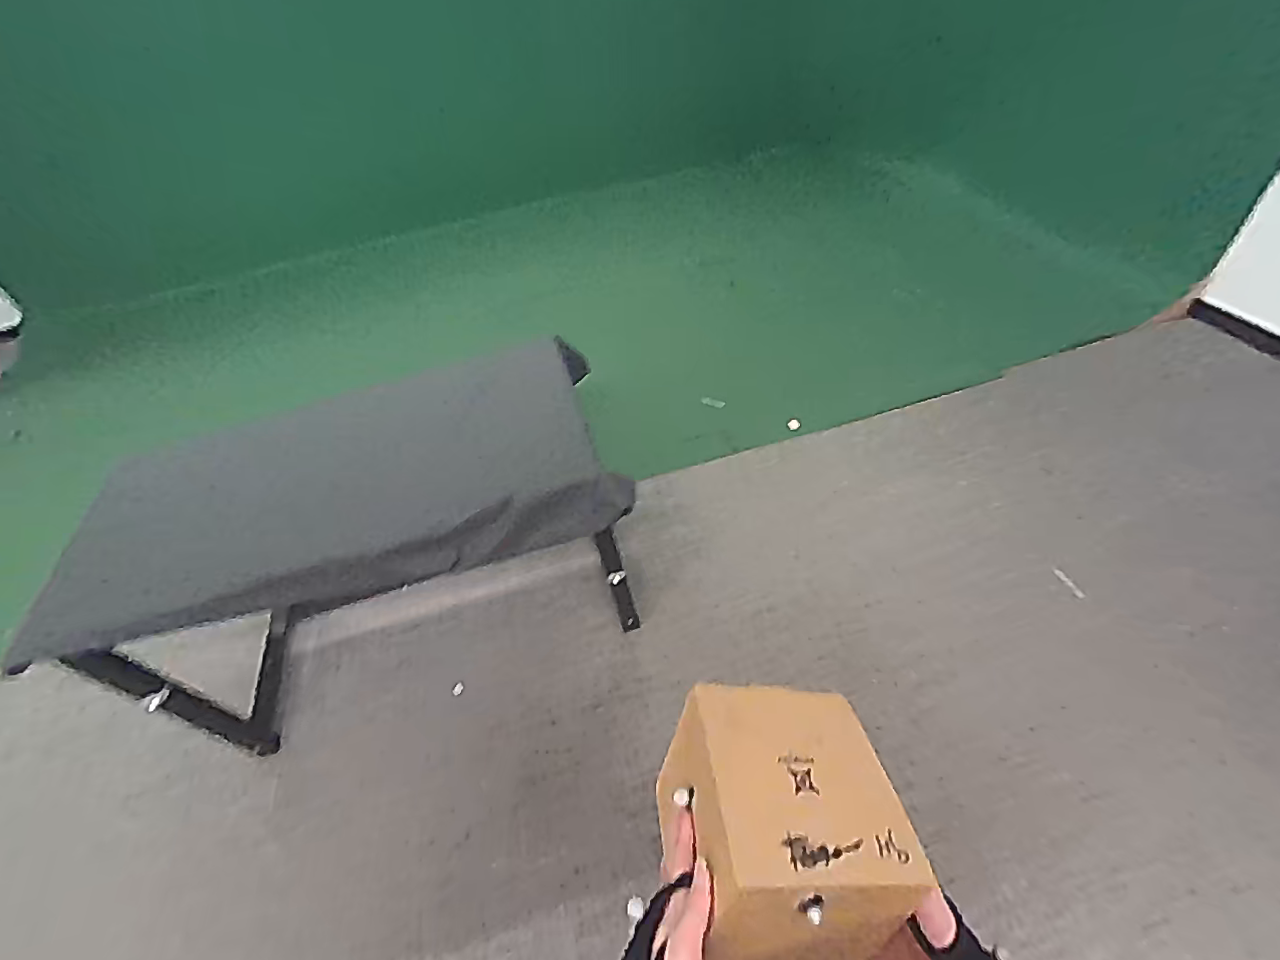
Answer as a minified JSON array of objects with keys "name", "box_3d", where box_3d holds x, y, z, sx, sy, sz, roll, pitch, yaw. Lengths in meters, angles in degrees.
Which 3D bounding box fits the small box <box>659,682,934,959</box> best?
[{"name":"small box","box_3d":[0.120,0.319,0.504,0.168,0.176,0.179,7,28,-11]}]
